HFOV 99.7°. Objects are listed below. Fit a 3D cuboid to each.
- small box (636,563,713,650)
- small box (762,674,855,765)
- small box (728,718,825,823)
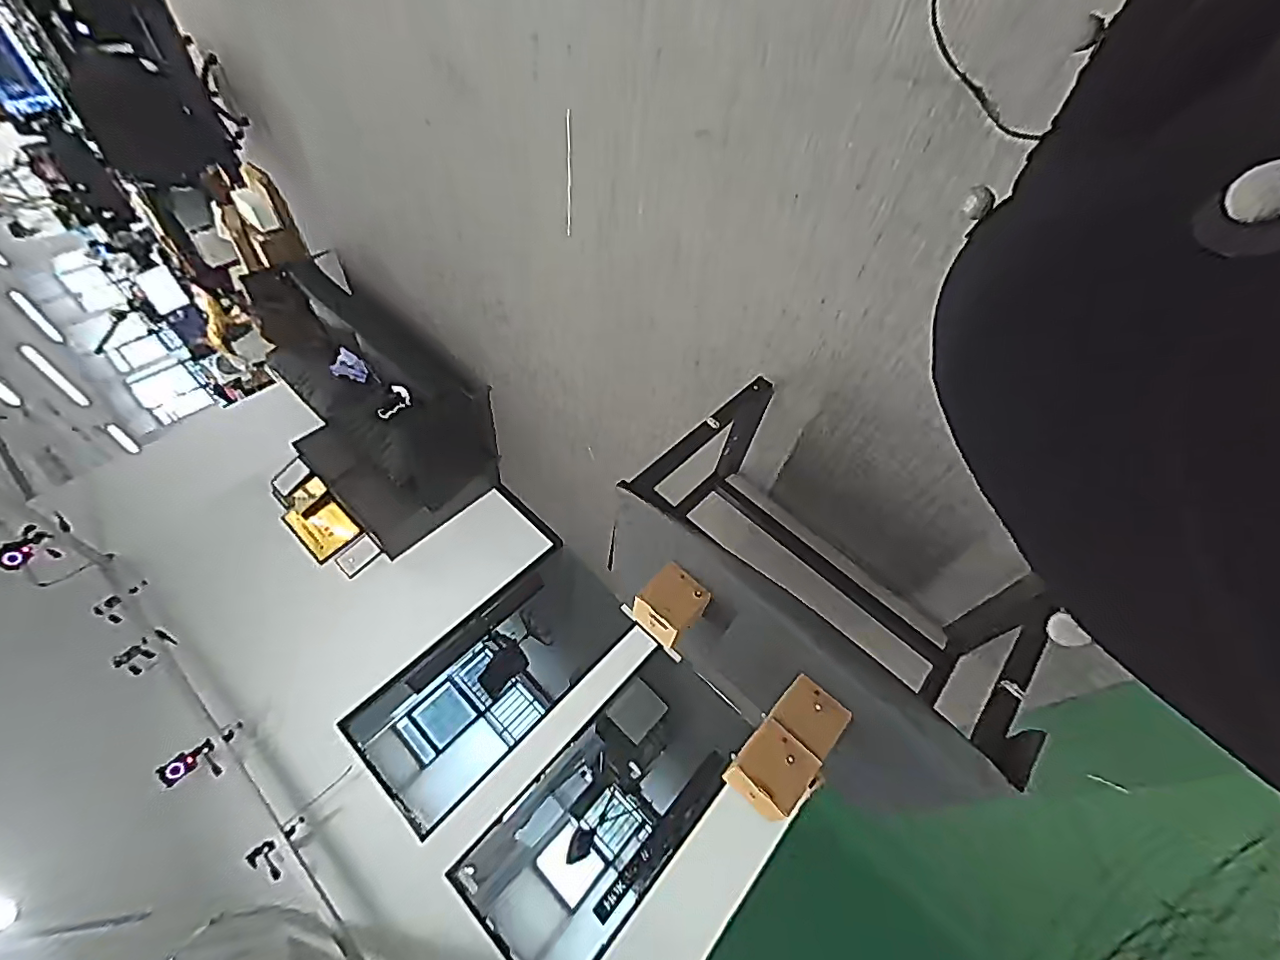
[{"bbox_3d":[0.108,0.390,1.686,0.168,0.176,0.179,39,150,20],"label":"small box"},{"bbox_3d":[0.471,0.681,1.513,0.168,0.176,0.179,37,149,23],"label":"small box"},{"bbox_3d":[0.361,0.766,1.429,0.168,0.176,0.179,38,149,22],"label":"small box"}]
